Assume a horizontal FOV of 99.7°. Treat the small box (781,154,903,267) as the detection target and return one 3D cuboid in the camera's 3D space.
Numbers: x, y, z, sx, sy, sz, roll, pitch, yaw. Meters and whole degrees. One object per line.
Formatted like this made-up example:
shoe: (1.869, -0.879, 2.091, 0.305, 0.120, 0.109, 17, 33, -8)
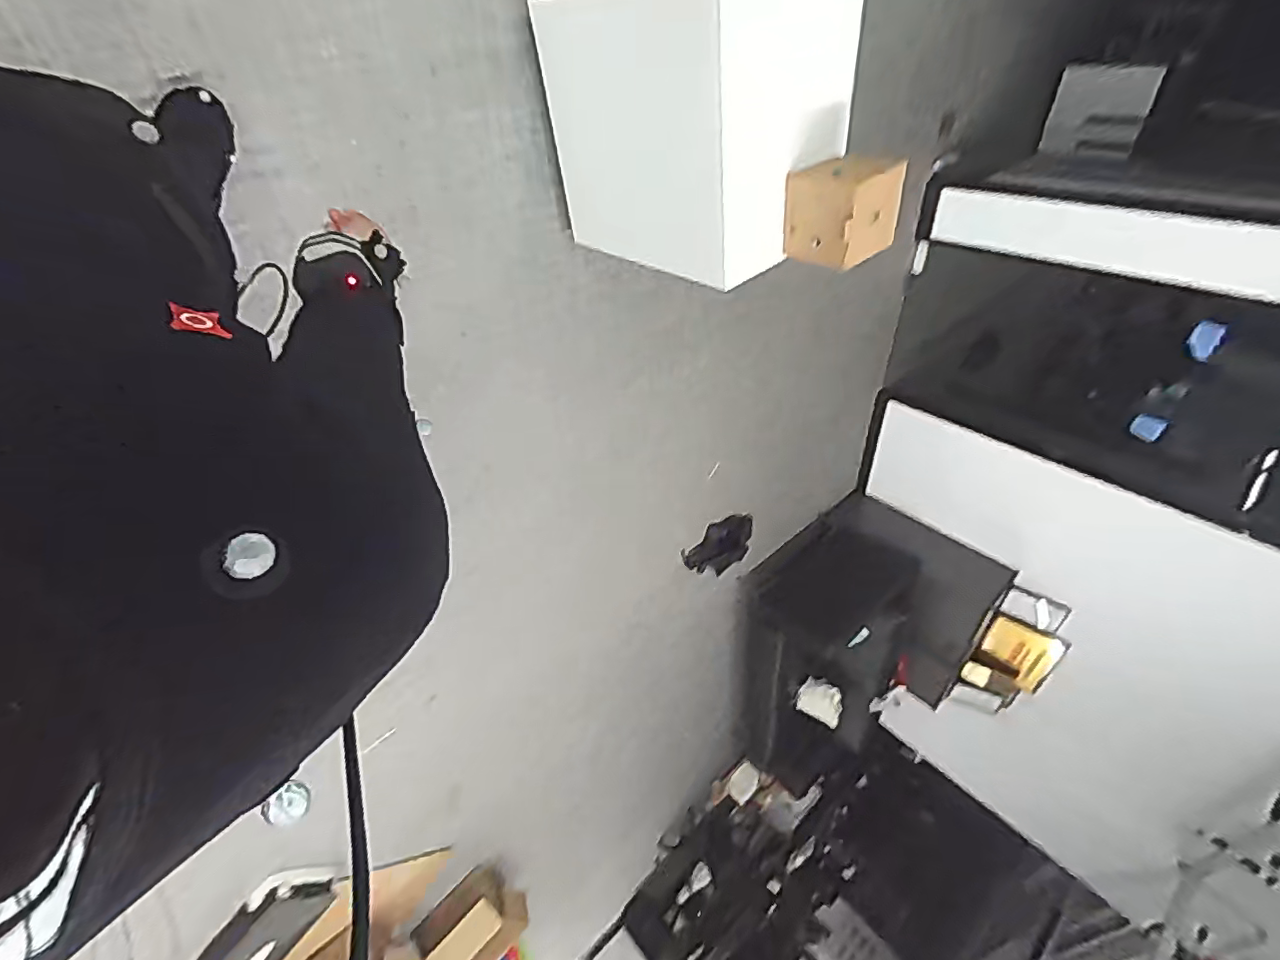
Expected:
small box: (0.420, -0.577, 1.151, 0.179, 0.176, 0.168, -35, 139, -25)
